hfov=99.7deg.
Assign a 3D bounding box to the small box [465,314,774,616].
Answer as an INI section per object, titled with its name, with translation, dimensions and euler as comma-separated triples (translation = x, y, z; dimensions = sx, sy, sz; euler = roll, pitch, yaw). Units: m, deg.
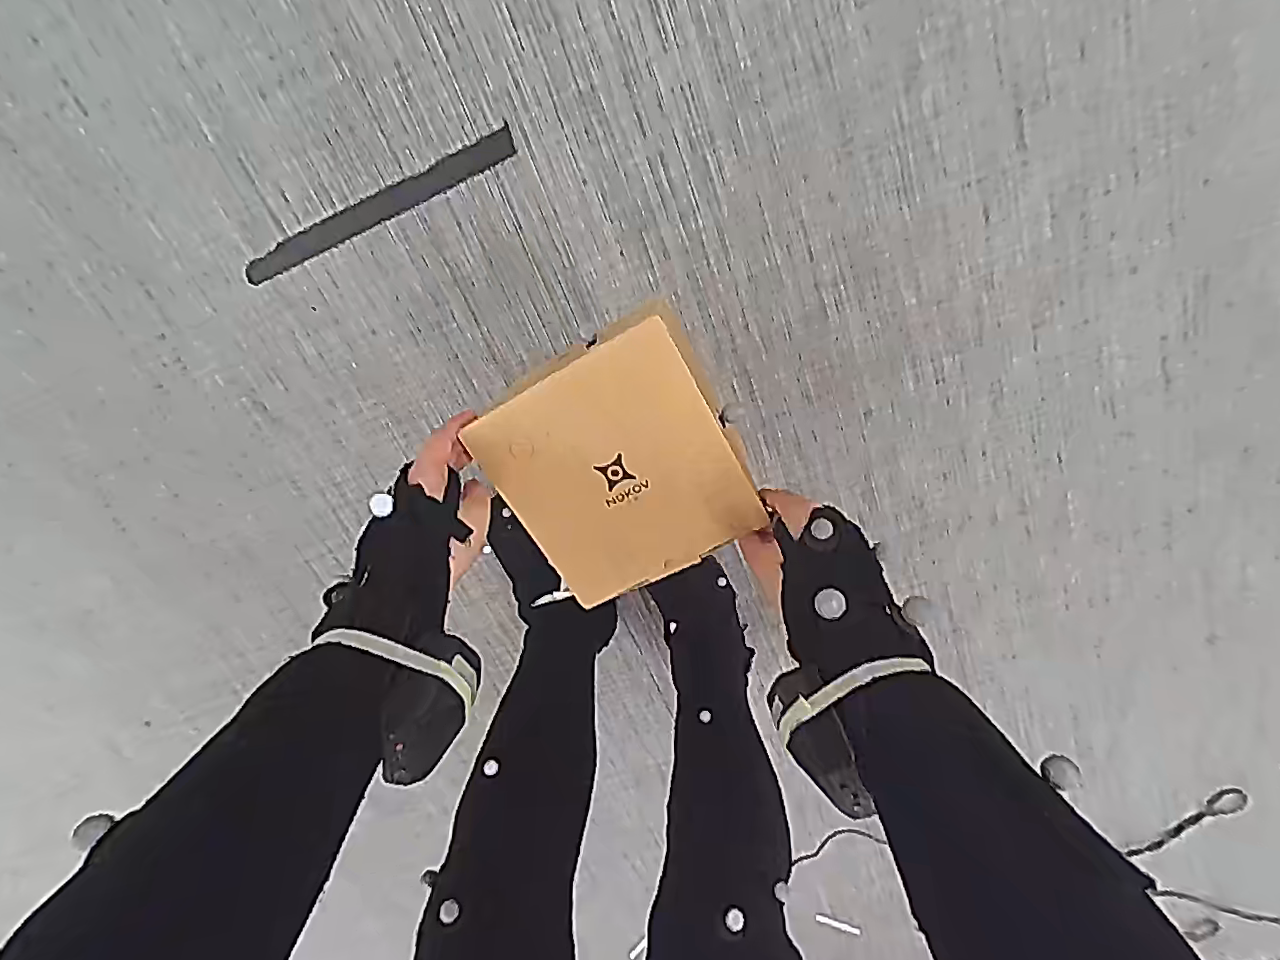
[small box]
translation = -0.010, -0.026, 0.460
dimensions = 0.168, 0.176, 0.179
euler = -27, 110, 13
